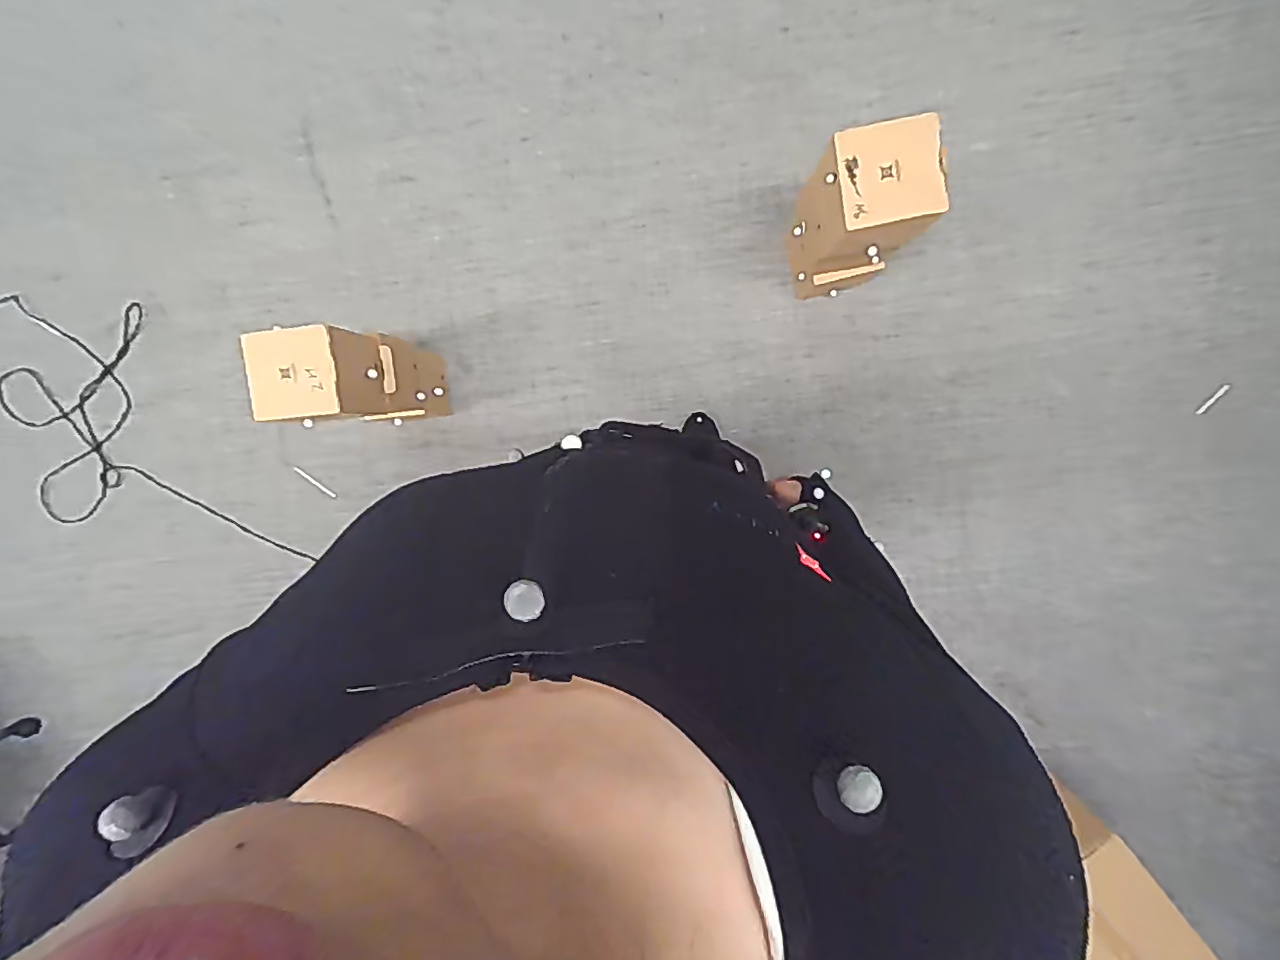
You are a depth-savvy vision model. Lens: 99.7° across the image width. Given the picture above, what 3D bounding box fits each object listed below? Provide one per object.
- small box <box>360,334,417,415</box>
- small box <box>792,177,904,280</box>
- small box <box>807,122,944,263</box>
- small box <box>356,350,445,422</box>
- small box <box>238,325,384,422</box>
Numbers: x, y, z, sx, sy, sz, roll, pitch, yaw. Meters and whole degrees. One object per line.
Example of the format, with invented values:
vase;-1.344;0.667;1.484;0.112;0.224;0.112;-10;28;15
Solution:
small box;-0.635;-0.236;1.245;0.179;0.176;0.168;-5;95;5
small box;0.442;-0.547;1.167;0.179;0.176;0.168;-9;95;5
small box;0.429;-0.522;1.005;0.179;0.176;0.168;-9;95;3
small box;-0.624;-0.242;1.409;0.179;0.176;0.168;-5;95;4
small box;-0.649;-0.205;1.083;0.179;0.176;0.168;-5;96;4
